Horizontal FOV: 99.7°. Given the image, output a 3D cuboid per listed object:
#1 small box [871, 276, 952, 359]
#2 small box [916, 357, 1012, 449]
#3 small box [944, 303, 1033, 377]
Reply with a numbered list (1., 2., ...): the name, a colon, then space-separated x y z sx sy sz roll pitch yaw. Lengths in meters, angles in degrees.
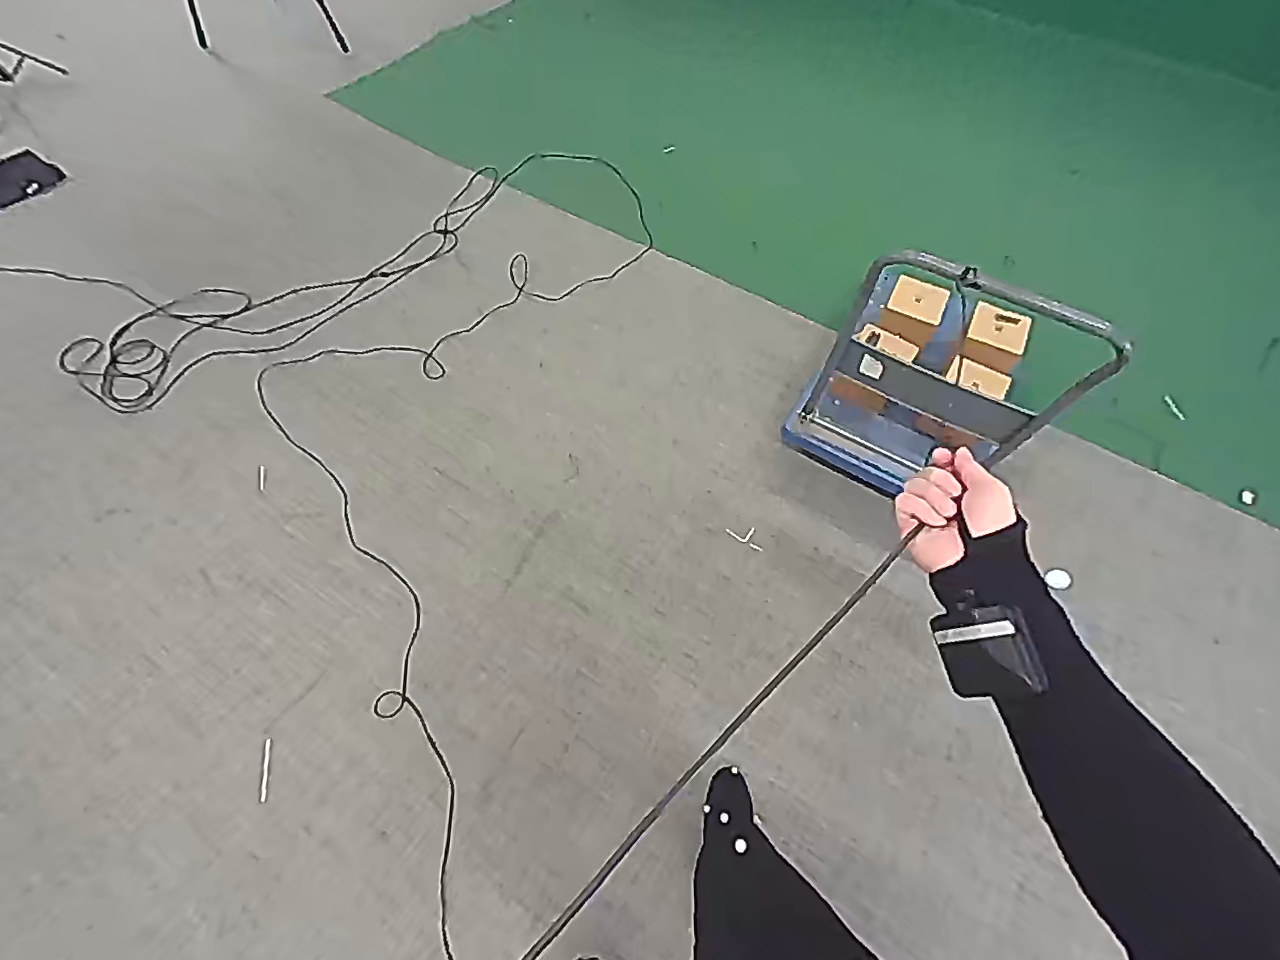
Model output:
1. small box: 0.893 -0.533 1.795 0.168 0.176 0.179 27 64 12
2. small box: 0.968 -0.229 1.628 0.168 0.176 0.179 31 66 15
3. small box: 1.114 -0.427 1.739 0.168 0.176 0.179 26 65 14
